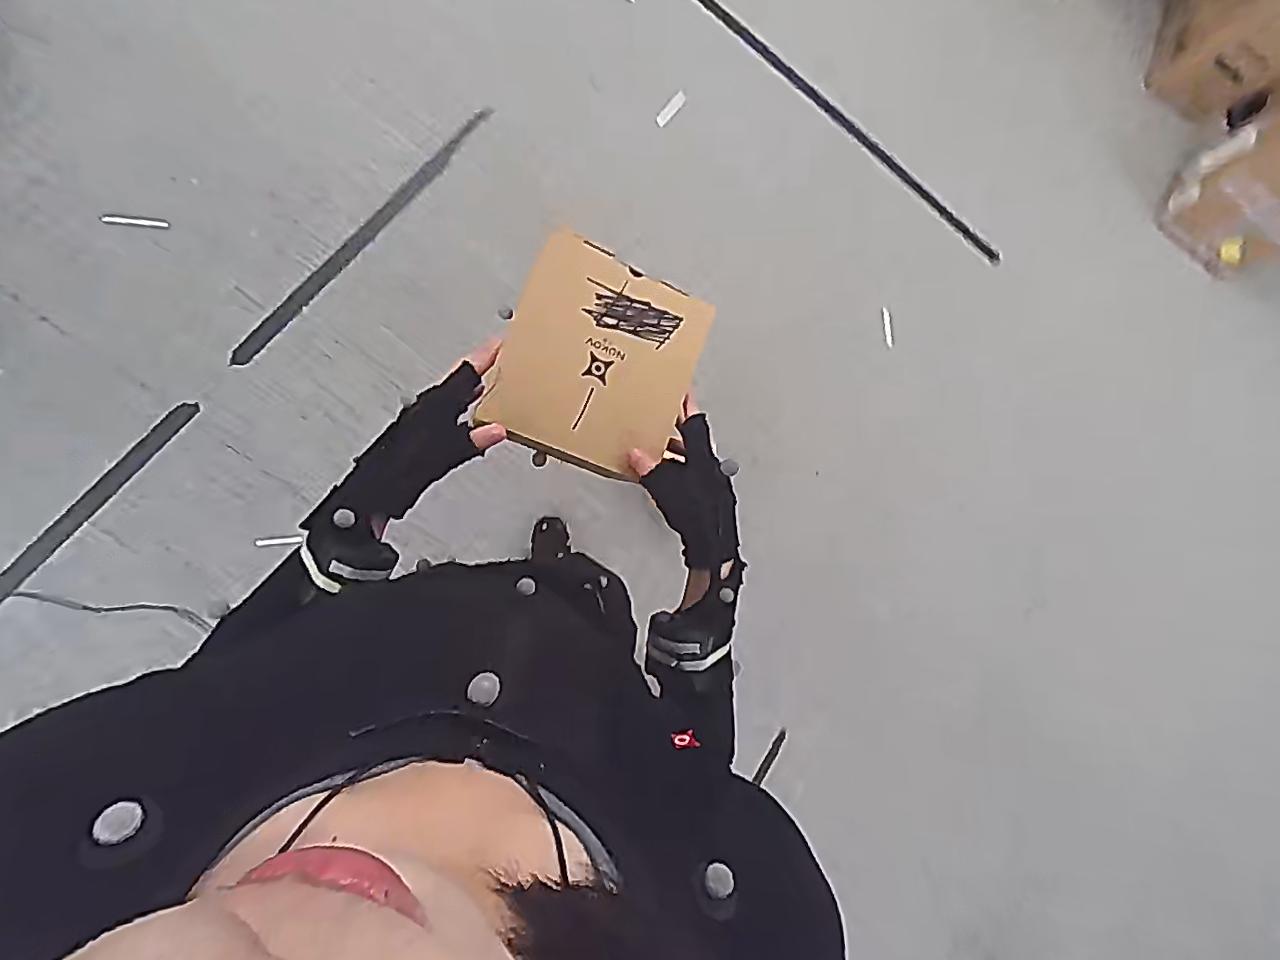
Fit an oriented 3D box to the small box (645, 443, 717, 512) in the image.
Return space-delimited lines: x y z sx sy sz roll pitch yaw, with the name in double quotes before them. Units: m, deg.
"small box" 0.113 -0.001 1.537 0.168 0.176 0.179 2 82 -13
